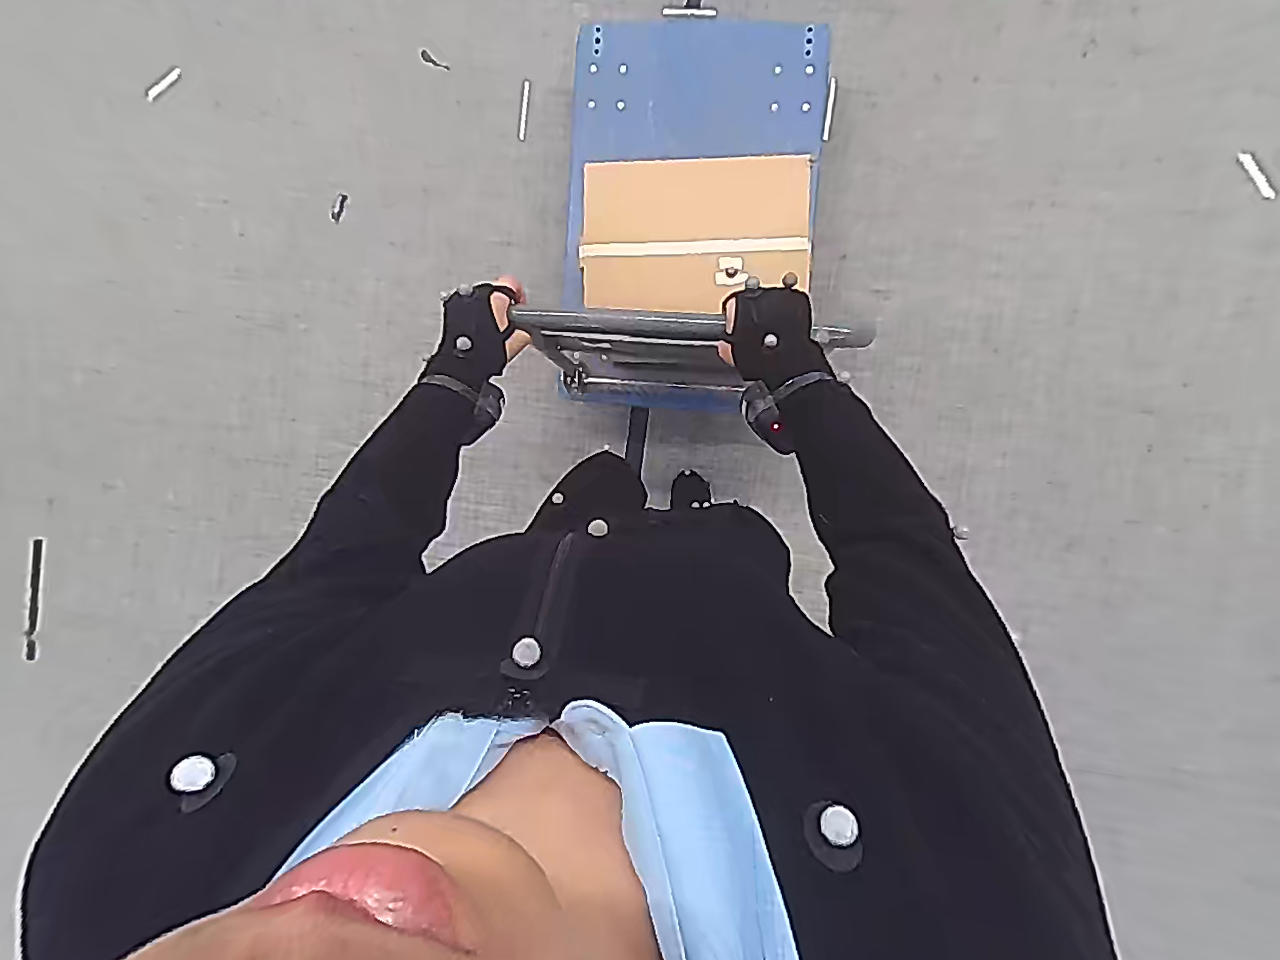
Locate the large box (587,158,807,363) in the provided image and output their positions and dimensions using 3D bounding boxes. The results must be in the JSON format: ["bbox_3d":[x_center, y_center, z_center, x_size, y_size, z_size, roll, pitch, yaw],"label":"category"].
[{"bbox_3d":[0.110,-0.429,1.134,0.408,0.320,0.320,1,94,4],"label":"large box"}]
